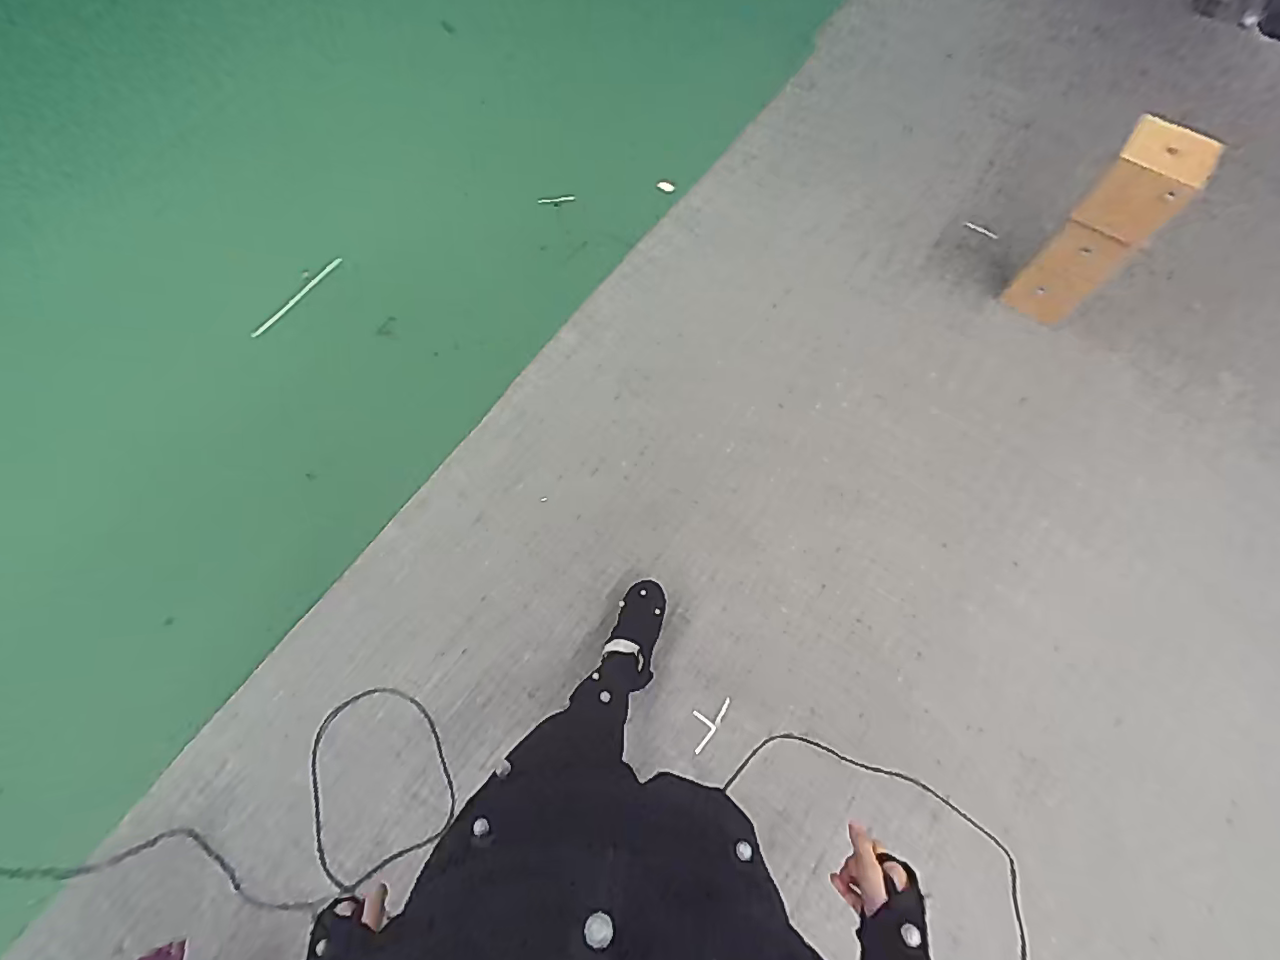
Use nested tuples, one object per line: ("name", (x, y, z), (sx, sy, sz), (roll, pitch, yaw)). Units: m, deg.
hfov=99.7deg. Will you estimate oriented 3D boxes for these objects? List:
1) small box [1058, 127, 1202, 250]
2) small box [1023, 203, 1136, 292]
("small box", (1.168, -0.694, 1.303), (0.179, 0.176, 0.168), (33, 74, 13))
("small box", (1.191, -0.640, 1.456), (0.179, 0.176, 0.168), (31, 73, 14))
